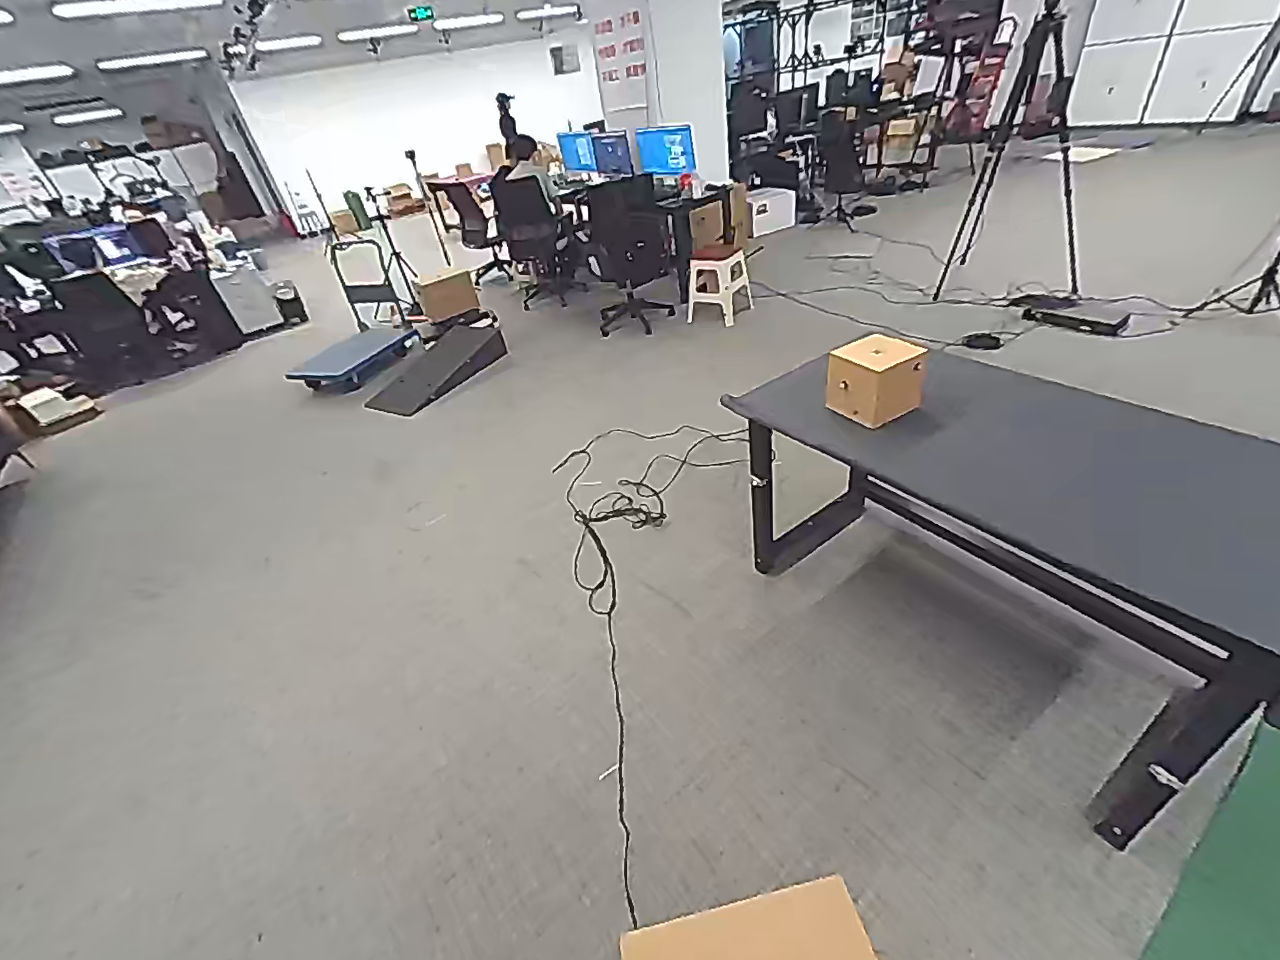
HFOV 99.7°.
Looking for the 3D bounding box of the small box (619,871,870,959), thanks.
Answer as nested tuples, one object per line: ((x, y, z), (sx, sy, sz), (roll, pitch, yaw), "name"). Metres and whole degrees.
((0.086, 0.413, 0.366), (0.168, 0.176, 0.179), (-12, 36, -4), "small box")

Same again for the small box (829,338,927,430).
((0.622, -0.253, 1.433), (0.179, 0.176, 0.168), (-23, 38, -19), "small box")
